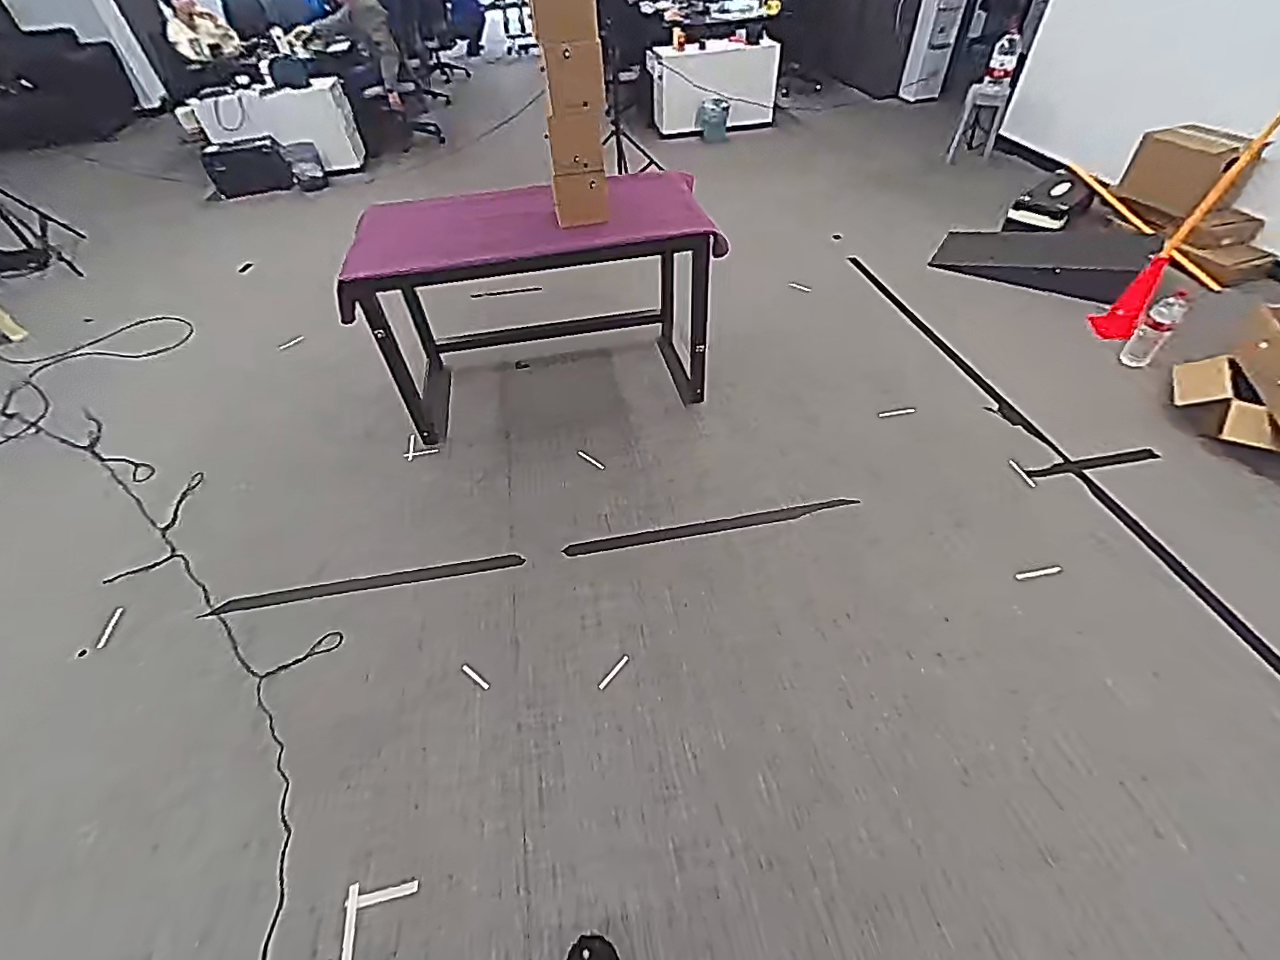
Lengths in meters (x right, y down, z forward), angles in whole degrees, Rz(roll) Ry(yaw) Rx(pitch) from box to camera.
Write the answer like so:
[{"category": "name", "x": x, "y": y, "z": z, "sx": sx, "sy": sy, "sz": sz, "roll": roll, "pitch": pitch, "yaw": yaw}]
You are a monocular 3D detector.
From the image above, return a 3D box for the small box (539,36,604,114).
[{"category": "small box", "x": -0.208, "y": -1.219, "z": 1.622, "sx": 0.168, "sy": 0.176, "sz": 0.179, "roll": -11, "pitch": 47, "yaw": -6}]

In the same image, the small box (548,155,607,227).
[{"category": "small box", "x": -0.211, "y": -0.993, "z": 1.860, "sx": 0.179, "sy": 0.176, "sz": 0.168, "roll": -11, "pitch": 47, "yaw": -6}]

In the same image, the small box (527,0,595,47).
[{"category": "small box", "x": -0.225, "y": -1.337, "z": 1.510, "sx": 0.179, "sy": 0.176, "sz": 0.168, "roll": -12, "pitch": 48, "yaw": -7}]
